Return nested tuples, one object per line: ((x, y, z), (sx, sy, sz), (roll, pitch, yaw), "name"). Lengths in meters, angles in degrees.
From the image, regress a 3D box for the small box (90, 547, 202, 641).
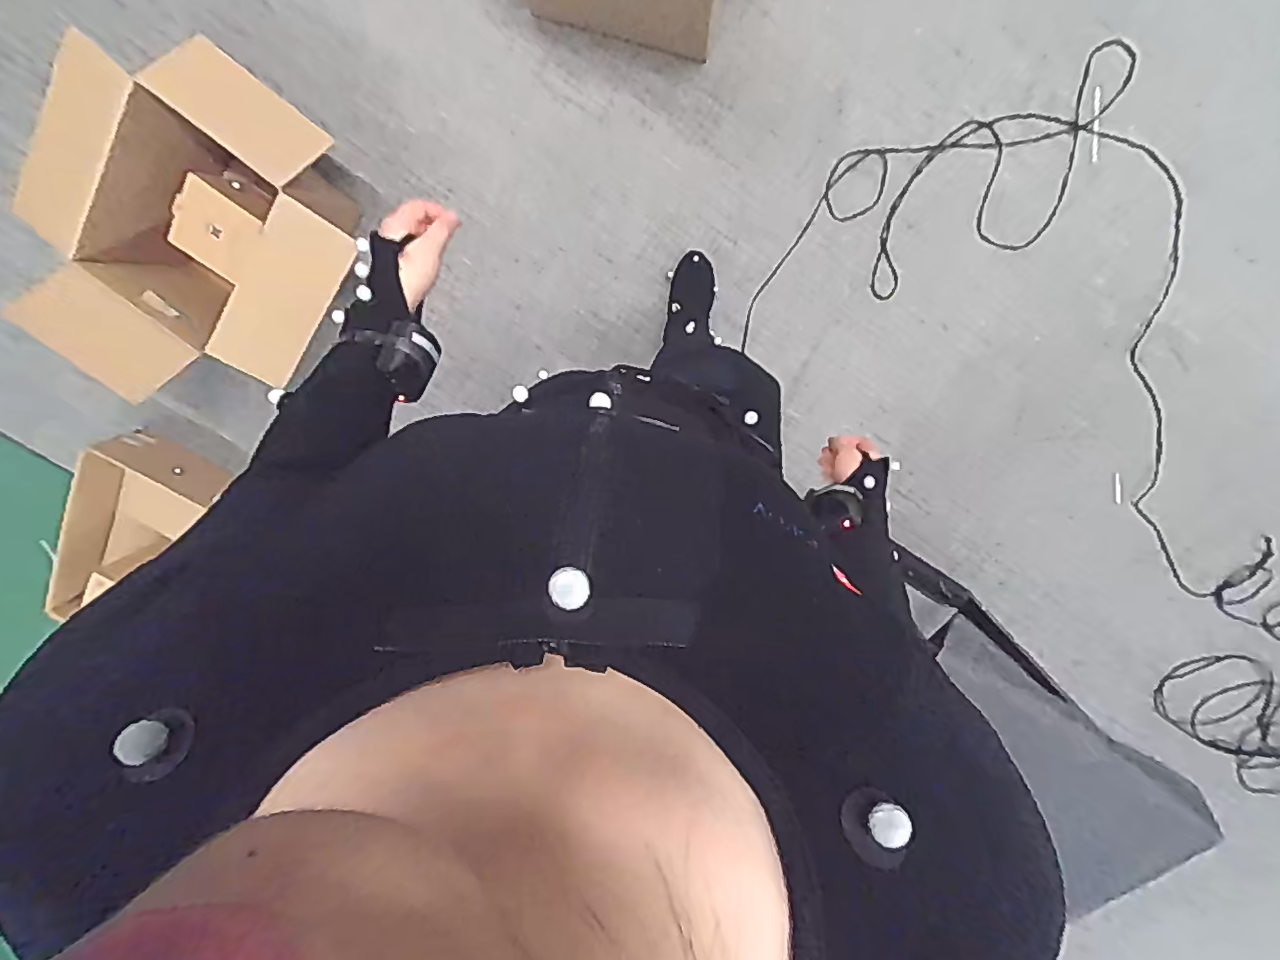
((-1.464, 0.336, 1.613), (0.168, 0.176, 0.179), (32, 108, -6), "small box")
